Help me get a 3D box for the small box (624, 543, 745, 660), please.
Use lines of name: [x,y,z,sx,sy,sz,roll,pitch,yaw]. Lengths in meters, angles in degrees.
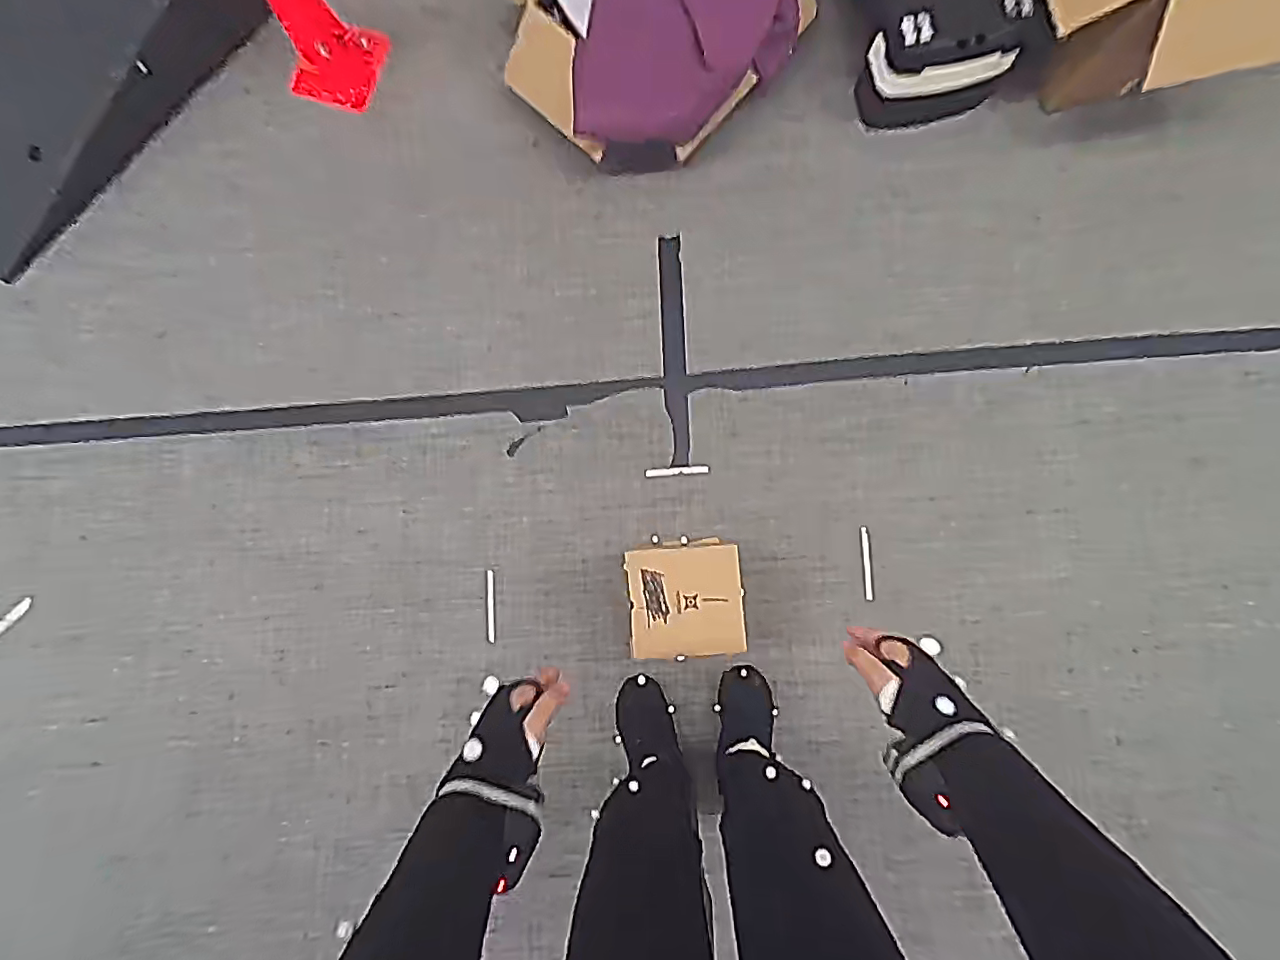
small box: [0.071,0.193,0.895,0.179,0.176,0.168,-4,85,2]
